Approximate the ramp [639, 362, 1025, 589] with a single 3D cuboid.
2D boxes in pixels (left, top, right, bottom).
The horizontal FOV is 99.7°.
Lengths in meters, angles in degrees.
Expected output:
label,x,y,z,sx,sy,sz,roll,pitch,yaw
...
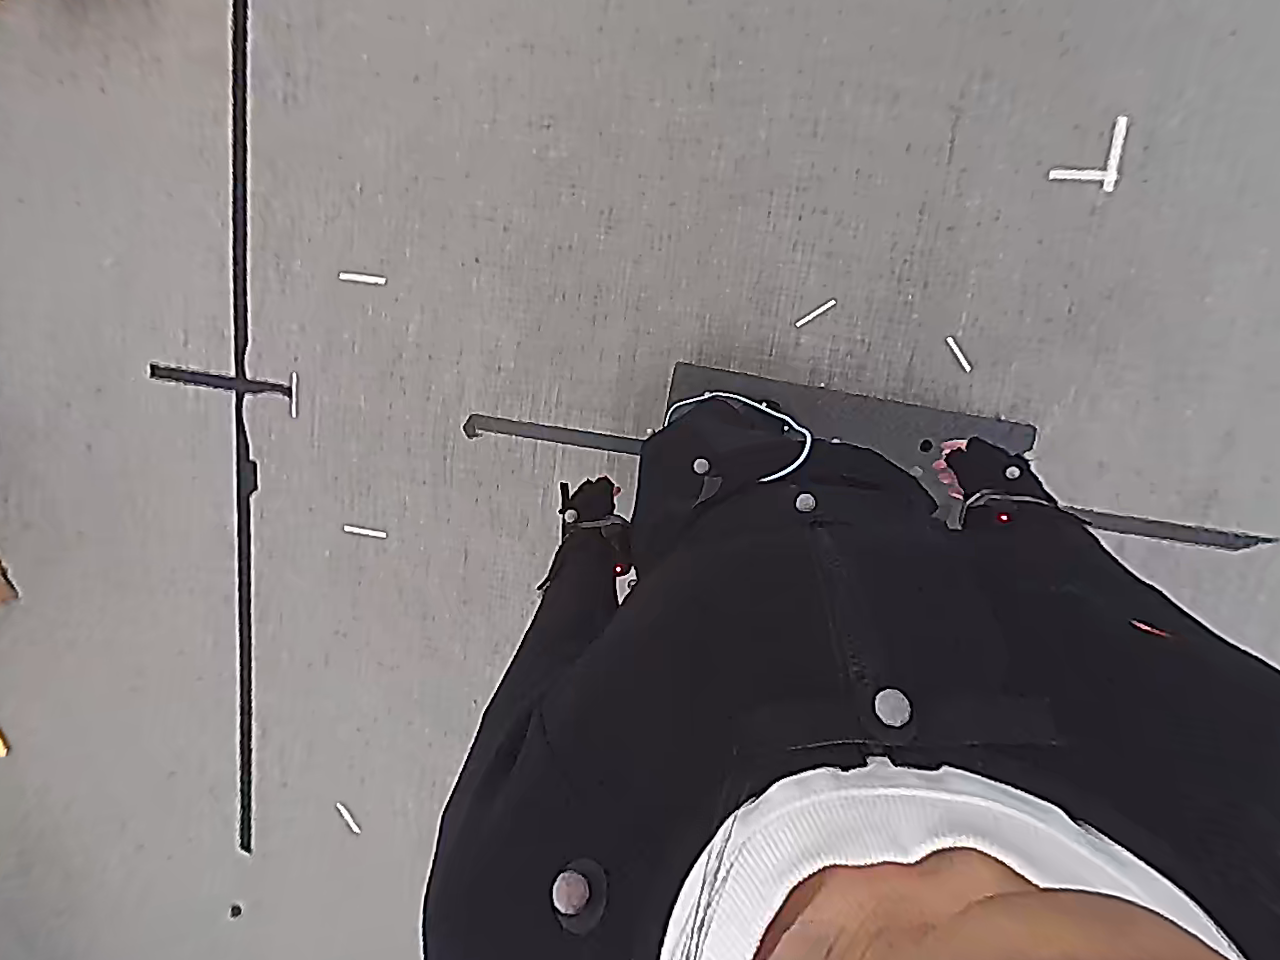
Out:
label,x,y,z,sx,sy,sz,roll,pitch,yaw
ramp,0.524,0.001,1.472,0.991,0.206,0.509,9,99,6
